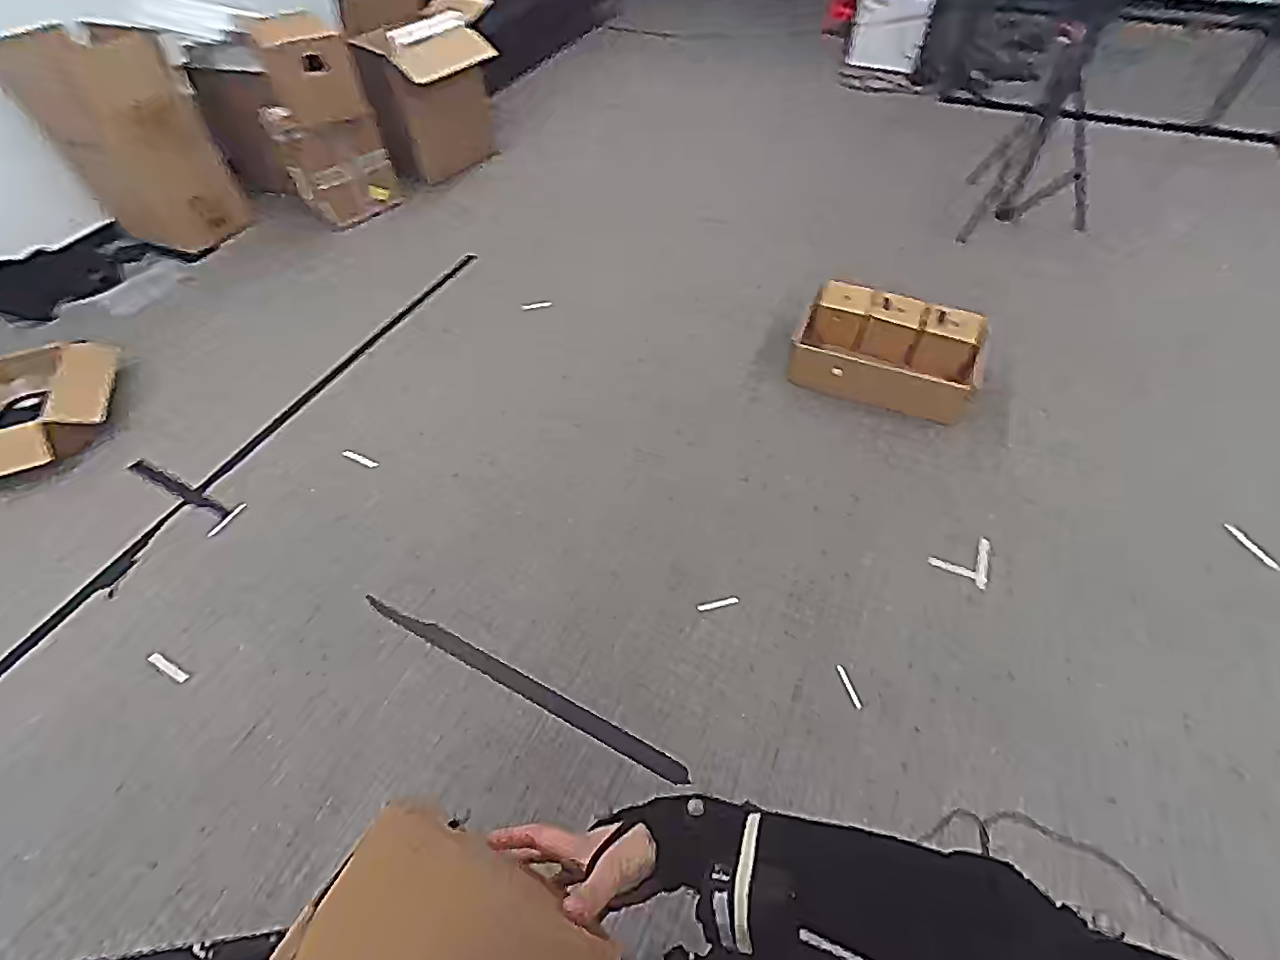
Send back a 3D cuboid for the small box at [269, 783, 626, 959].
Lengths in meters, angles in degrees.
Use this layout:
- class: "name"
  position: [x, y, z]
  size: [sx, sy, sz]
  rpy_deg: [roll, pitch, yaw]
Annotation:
- class: "small box"
  position: [-0.137, 0.332, 0.361]
  size: [0.179, 0.176, 0.168]
  rpy_deg: [32, 59, 4]
